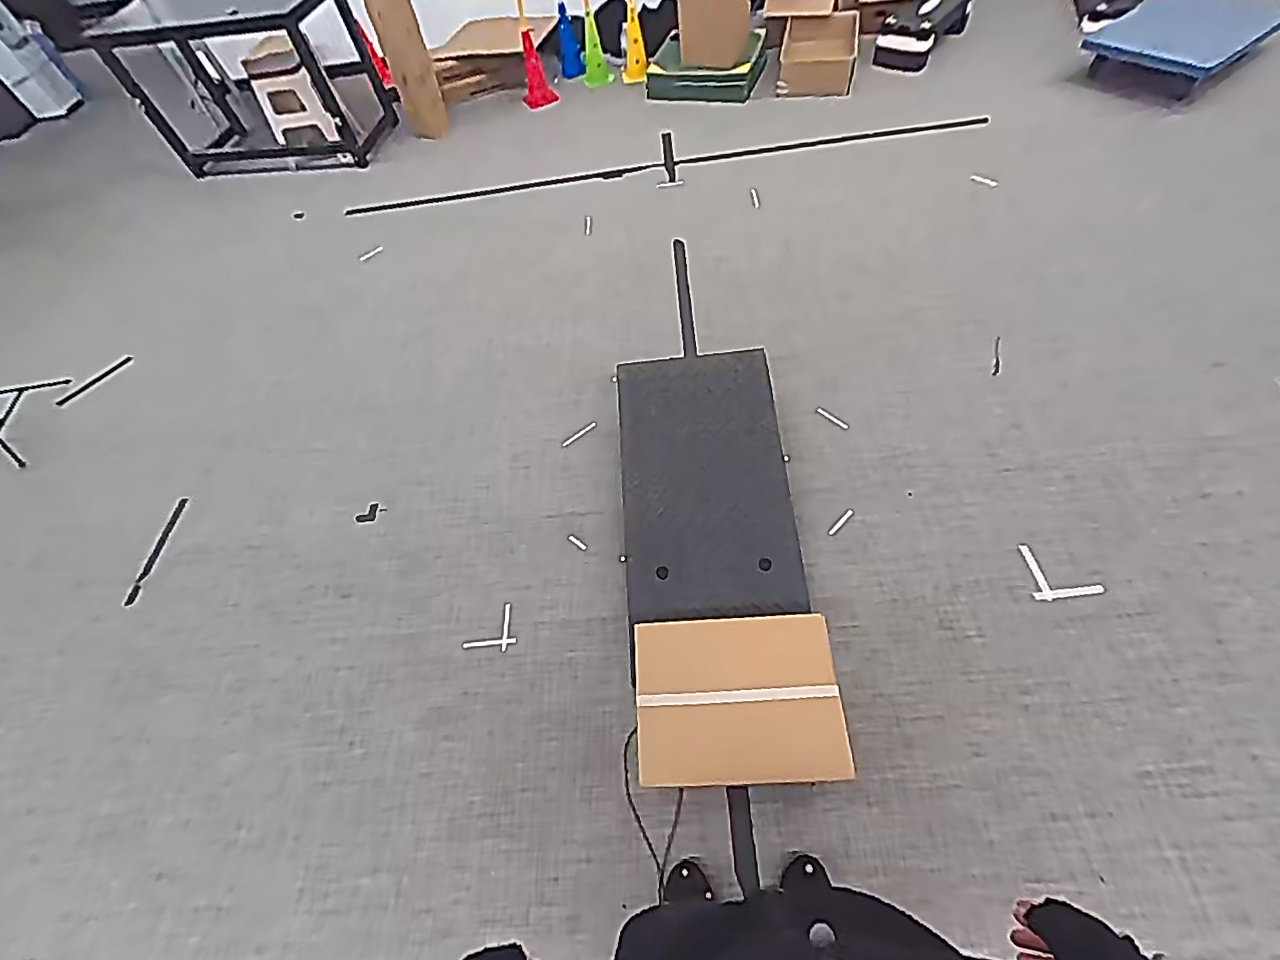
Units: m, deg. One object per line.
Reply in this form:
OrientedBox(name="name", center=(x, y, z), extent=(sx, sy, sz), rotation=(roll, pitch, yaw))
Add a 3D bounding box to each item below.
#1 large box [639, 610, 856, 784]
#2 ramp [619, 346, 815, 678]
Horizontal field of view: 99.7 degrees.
OrientedBox(name="large box", center=(0.220, 0.500, 1.226), extent=(0.408, 0.320, 0.320), rotation=(-5, 60, 5))
OrientedBox(name="ramp", center=(0.204, 0.045, 1.600), extent=(0.509, 0.206, 0.991), rotation=(-7, 57, 3))
